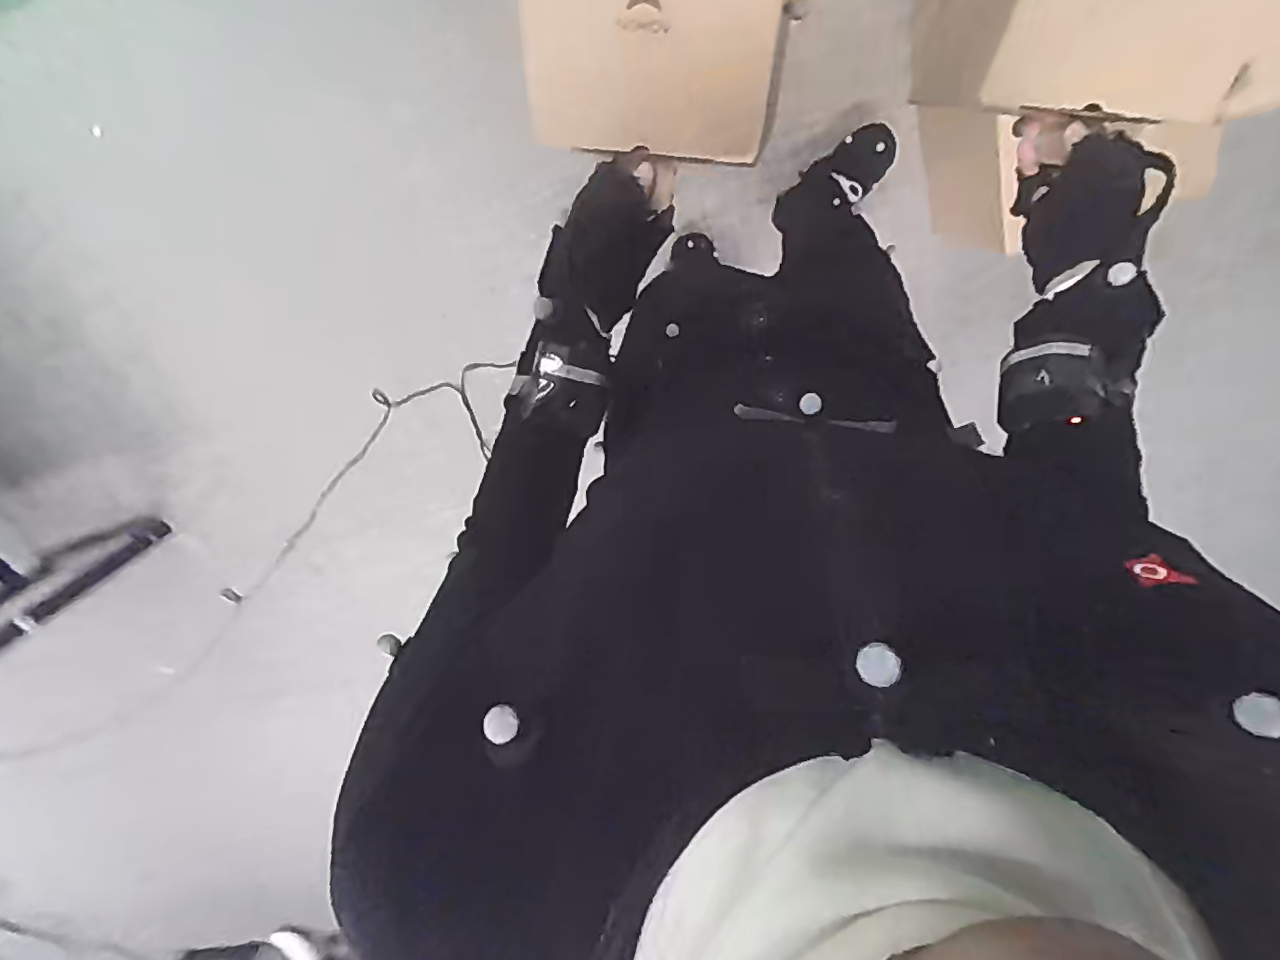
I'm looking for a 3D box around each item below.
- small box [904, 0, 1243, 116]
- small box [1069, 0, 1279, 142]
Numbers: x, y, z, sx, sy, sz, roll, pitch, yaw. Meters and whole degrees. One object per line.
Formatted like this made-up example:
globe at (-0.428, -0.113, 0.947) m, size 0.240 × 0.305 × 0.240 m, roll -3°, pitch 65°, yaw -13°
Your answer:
small box at (0.328, -0.394, 0.412) m, size 0.168 × 0.176 × 0.179 m, roll 5°, pitch 127°, yaw 0°
small box at (0.711, -0.566, 0.716) m, size 0.168 × 0.176 × 0.179 m, roll -7°, pitch 119°, yaw 13°
